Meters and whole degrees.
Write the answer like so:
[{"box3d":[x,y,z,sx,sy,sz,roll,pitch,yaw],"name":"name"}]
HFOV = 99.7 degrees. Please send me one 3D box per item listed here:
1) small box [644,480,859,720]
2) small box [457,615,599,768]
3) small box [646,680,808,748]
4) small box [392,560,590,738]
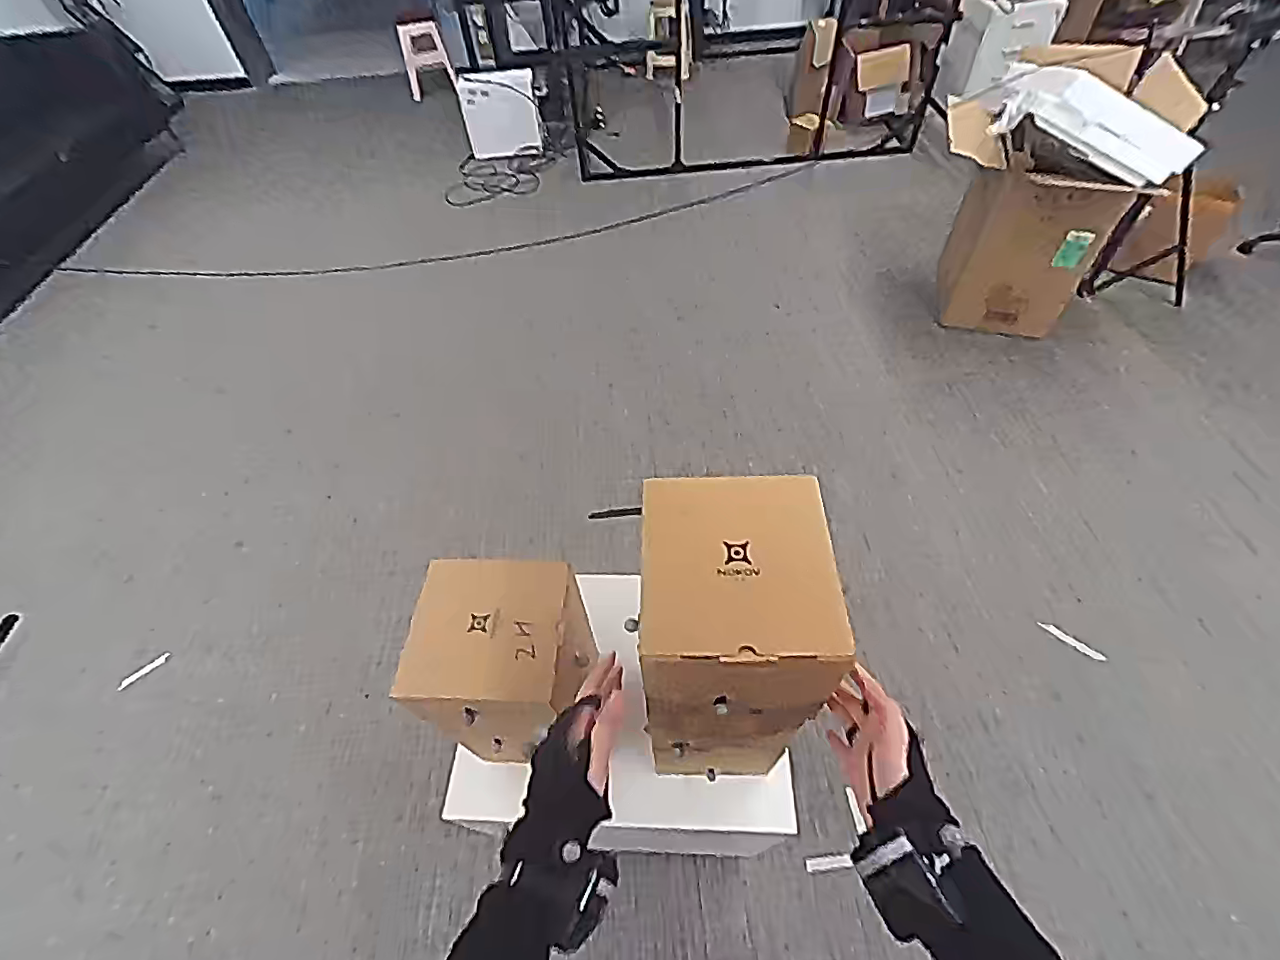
[{"box3d":[0.088,0.118,0.523,0.168,0.176,0.179,-1,53,3],"name":"small box"},{"box3d":[-0.157,0.311,0.804,0.168,0.176,0.179,1,52,5],"name":"small box"},{"box3d":[0.096,0.215,0.653,0.168,0.176,0.179,-1,52,3],"name":"small box"},{"box3d":[-0.166,0.213,0.671,0.179,0.176,0.168,1,53,4],"name":"small box"}]
